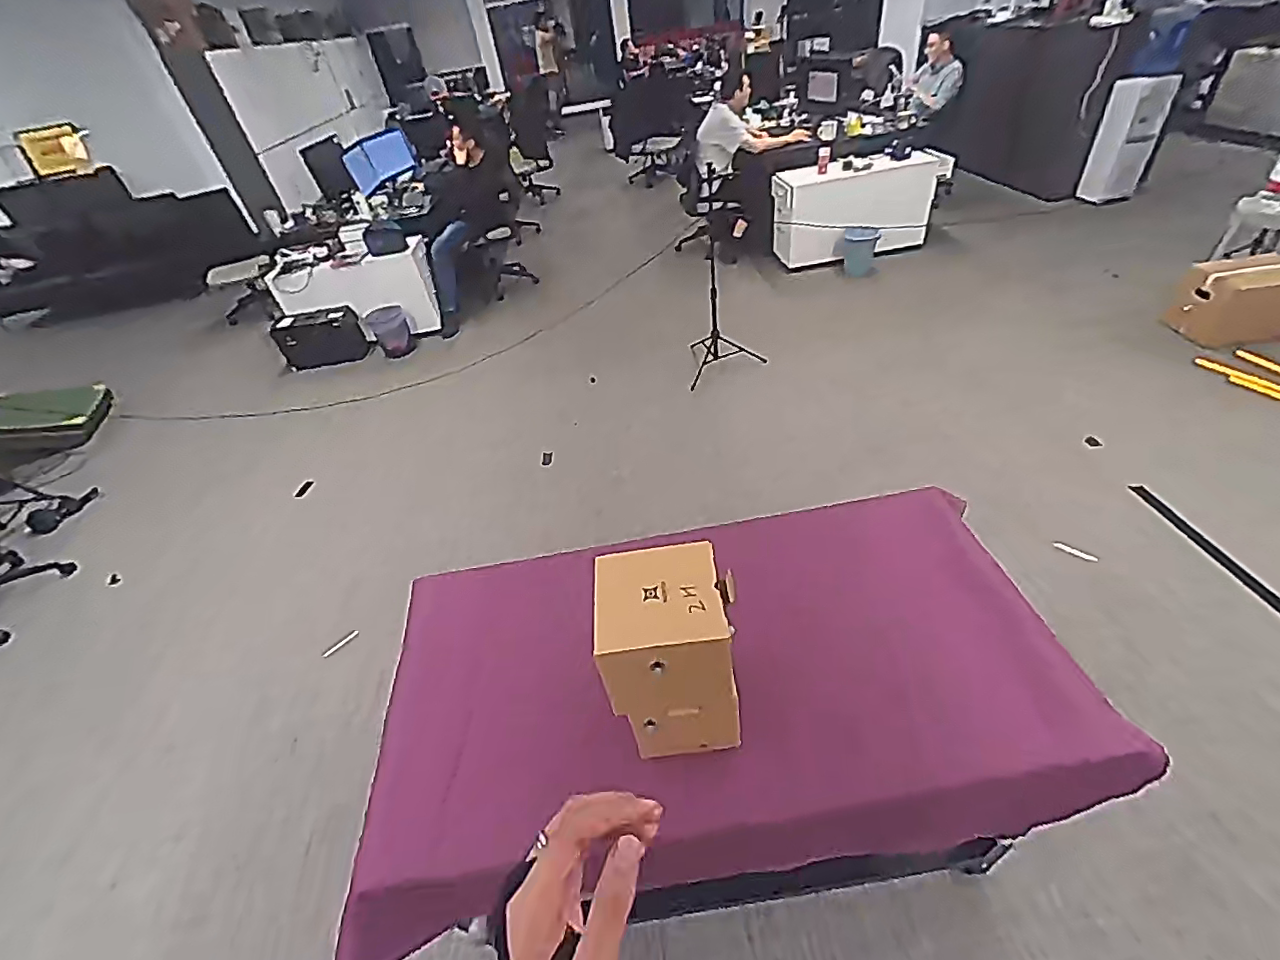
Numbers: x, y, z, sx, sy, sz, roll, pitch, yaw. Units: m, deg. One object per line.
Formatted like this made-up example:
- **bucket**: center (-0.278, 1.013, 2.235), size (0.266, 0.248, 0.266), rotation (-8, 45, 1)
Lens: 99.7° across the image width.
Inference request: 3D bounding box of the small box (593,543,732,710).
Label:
- **small box**: center (0.034, 0.217, 0.791), size (0.179, 0.176, 0.168), rotation (-8, 41, 3)
